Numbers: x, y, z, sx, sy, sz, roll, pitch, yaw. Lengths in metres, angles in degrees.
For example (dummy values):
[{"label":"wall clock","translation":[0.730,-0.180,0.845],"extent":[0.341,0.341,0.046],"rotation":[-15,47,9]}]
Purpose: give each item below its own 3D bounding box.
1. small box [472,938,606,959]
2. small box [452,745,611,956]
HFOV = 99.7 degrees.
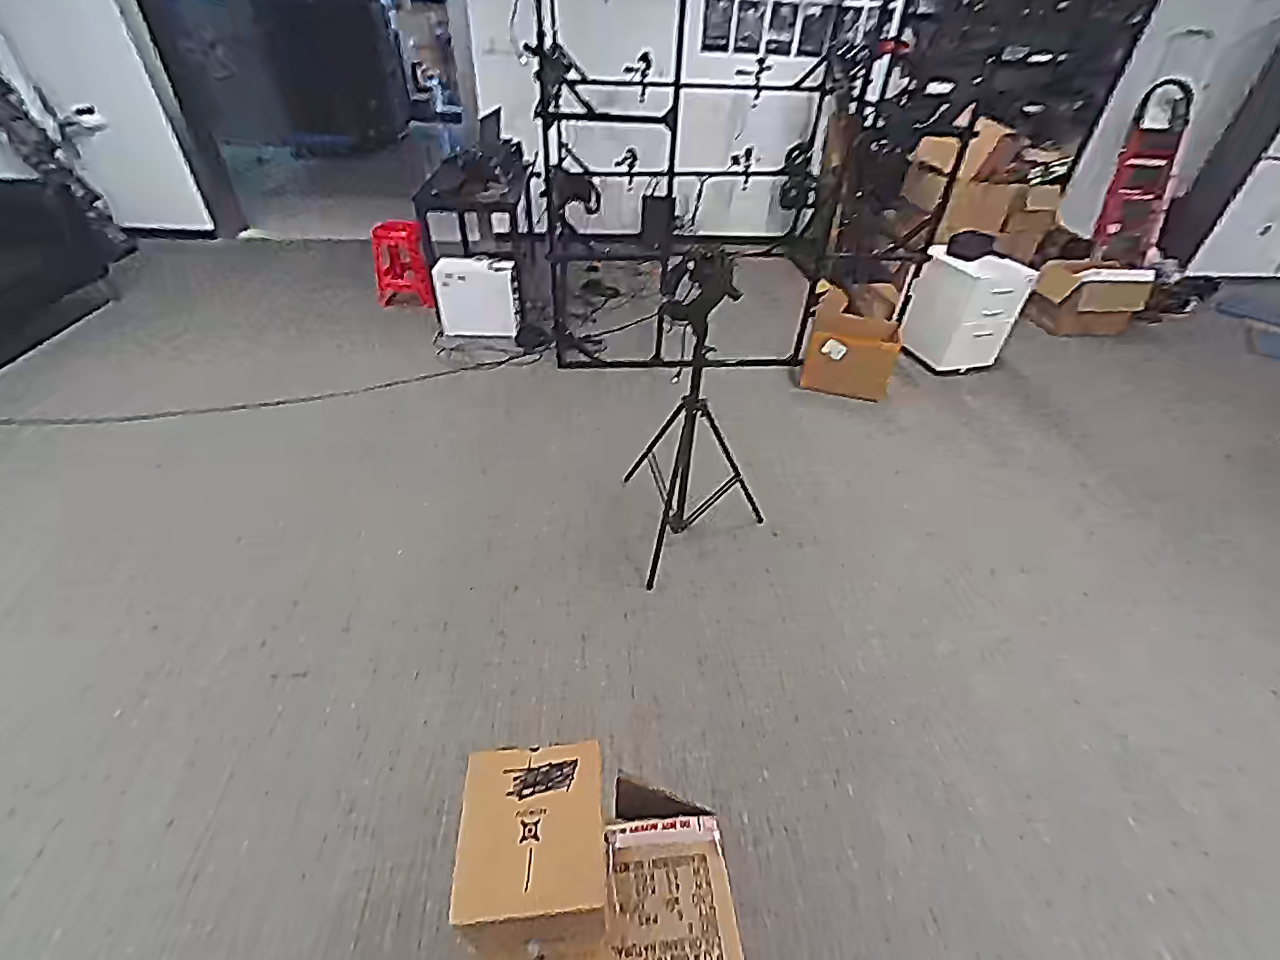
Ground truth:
[{"label":"small box","translation":[-0.141,0.582,0.787],"extent":[0.168,0.176,0.179],"rotation":[-6,42,-7]},{"label":"small box","translation":[-0.123,0.460,0.676],"extent":[0.168,0.176,0.179],"rotation":[-4,42,-5]}]
